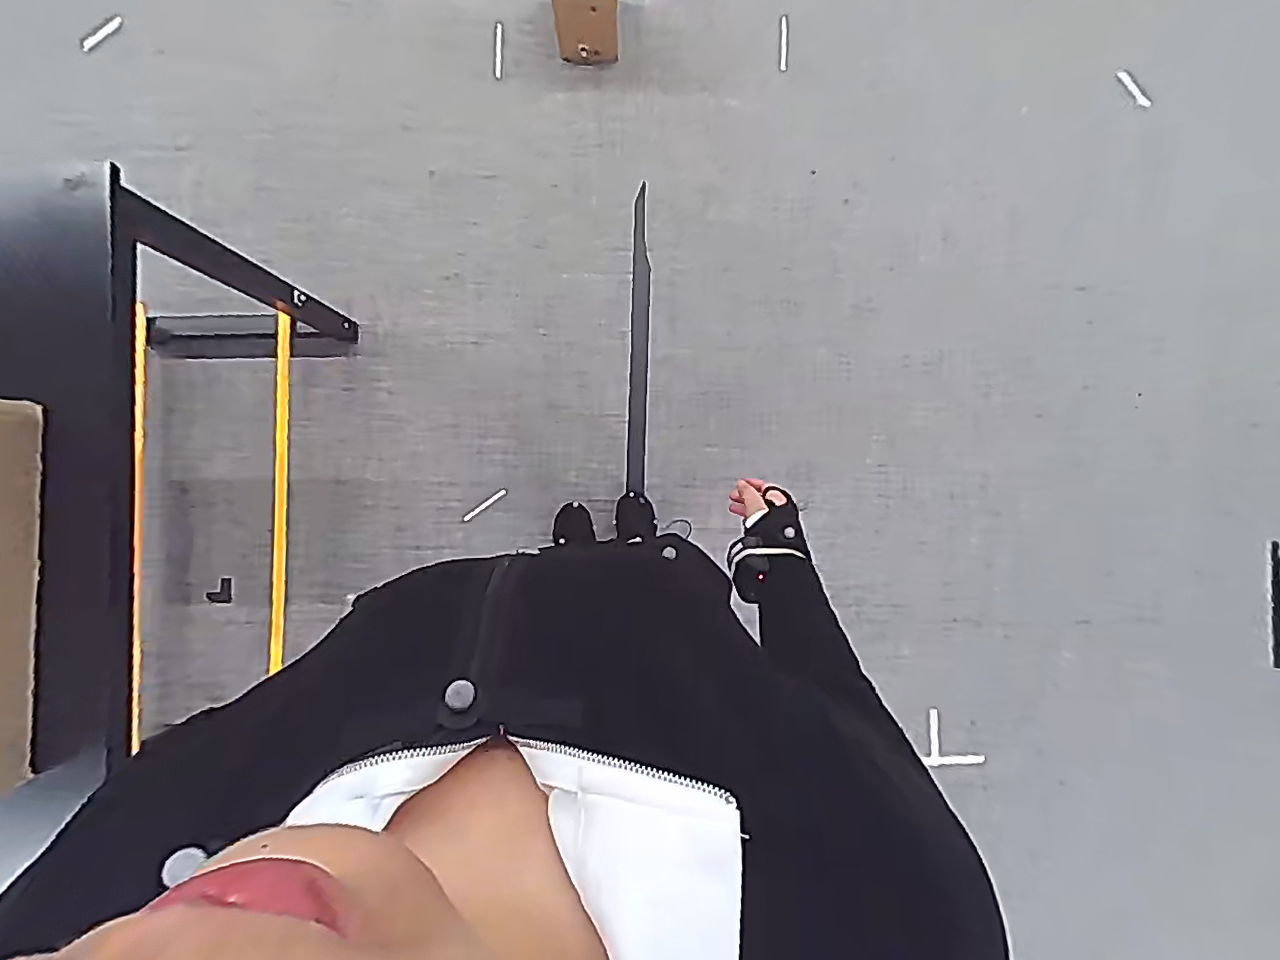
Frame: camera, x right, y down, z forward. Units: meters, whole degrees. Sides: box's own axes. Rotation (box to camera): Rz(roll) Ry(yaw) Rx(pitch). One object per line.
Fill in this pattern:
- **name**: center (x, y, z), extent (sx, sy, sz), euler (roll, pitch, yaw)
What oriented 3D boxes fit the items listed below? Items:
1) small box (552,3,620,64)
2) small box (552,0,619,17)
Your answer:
- **small box**: center (-0.140, -1.254, 1.433), extent (0.168, 0.176, 0.179), euler (-1, 90, 0)
- **small box**: center (-0.134, -1.239, 1.269), extent (0.168, 0.176, 0.179), euler (1, 90, 0)
